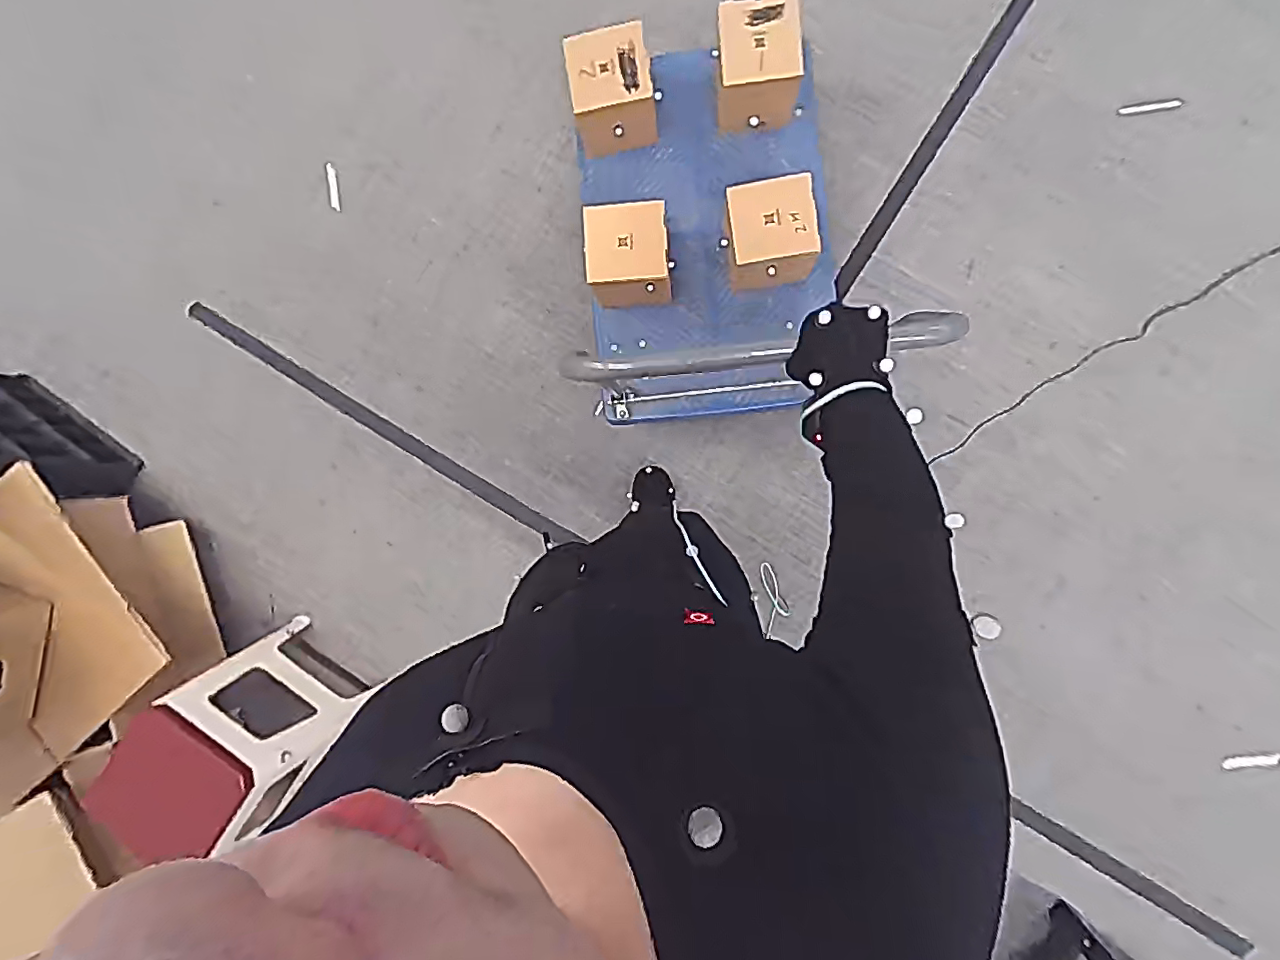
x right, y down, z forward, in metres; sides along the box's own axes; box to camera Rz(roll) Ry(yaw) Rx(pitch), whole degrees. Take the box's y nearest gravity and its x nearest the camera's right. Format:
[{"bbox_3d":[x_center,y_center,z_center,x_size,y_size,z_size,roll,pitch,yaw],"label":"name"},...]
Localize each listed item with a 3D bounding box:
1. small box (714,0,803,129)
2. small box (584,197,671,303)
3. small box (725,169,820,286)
[{"bbox_3d":[0.254,-0.919,1.191,0.168,0.176,0.179,-4,91,5],"label":"small box"},{"bbox_3d":[-0.023,-0.510,1.222,0.179,0.176,0.168,-4,90,4],"label":"small box"},{"bbox_3d":[0.283,-0.546,1.193,0.179,0.176,0.168,-8,90,5],"label":"small box"}]
